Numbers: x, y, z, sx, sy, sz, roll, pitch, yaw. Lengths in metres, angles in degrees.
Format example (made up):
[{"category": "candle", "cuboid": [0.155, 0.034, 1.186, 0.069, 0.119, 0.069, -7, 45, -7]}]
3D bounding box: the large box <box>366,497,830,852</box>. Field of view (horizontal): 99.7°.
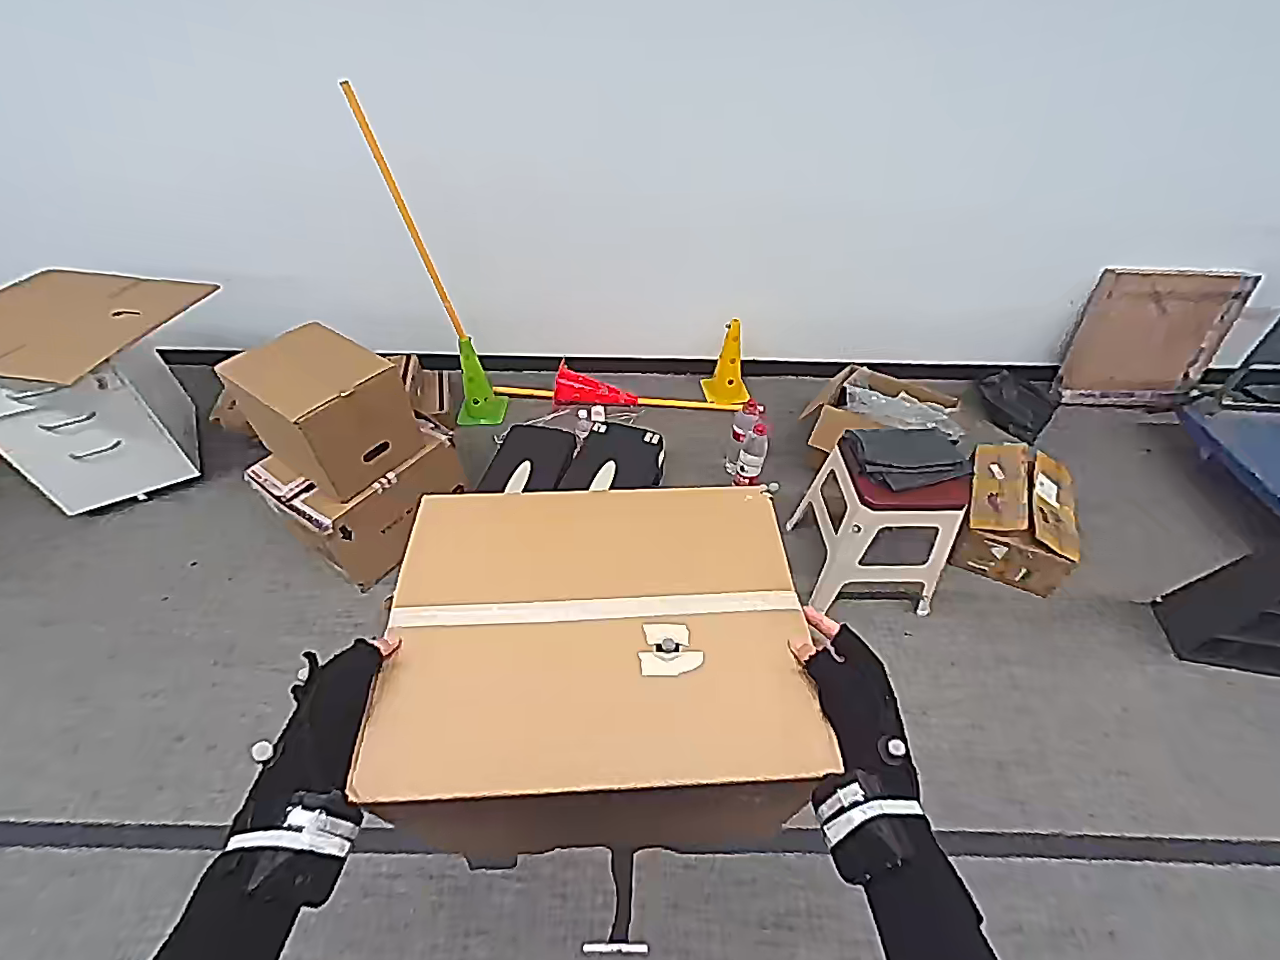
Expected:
[{"category": "large box", "cuboid": [-0.045, 0.239, 0.664, 0.408, 0.320, 0.320, -1, 50, -3]}]
